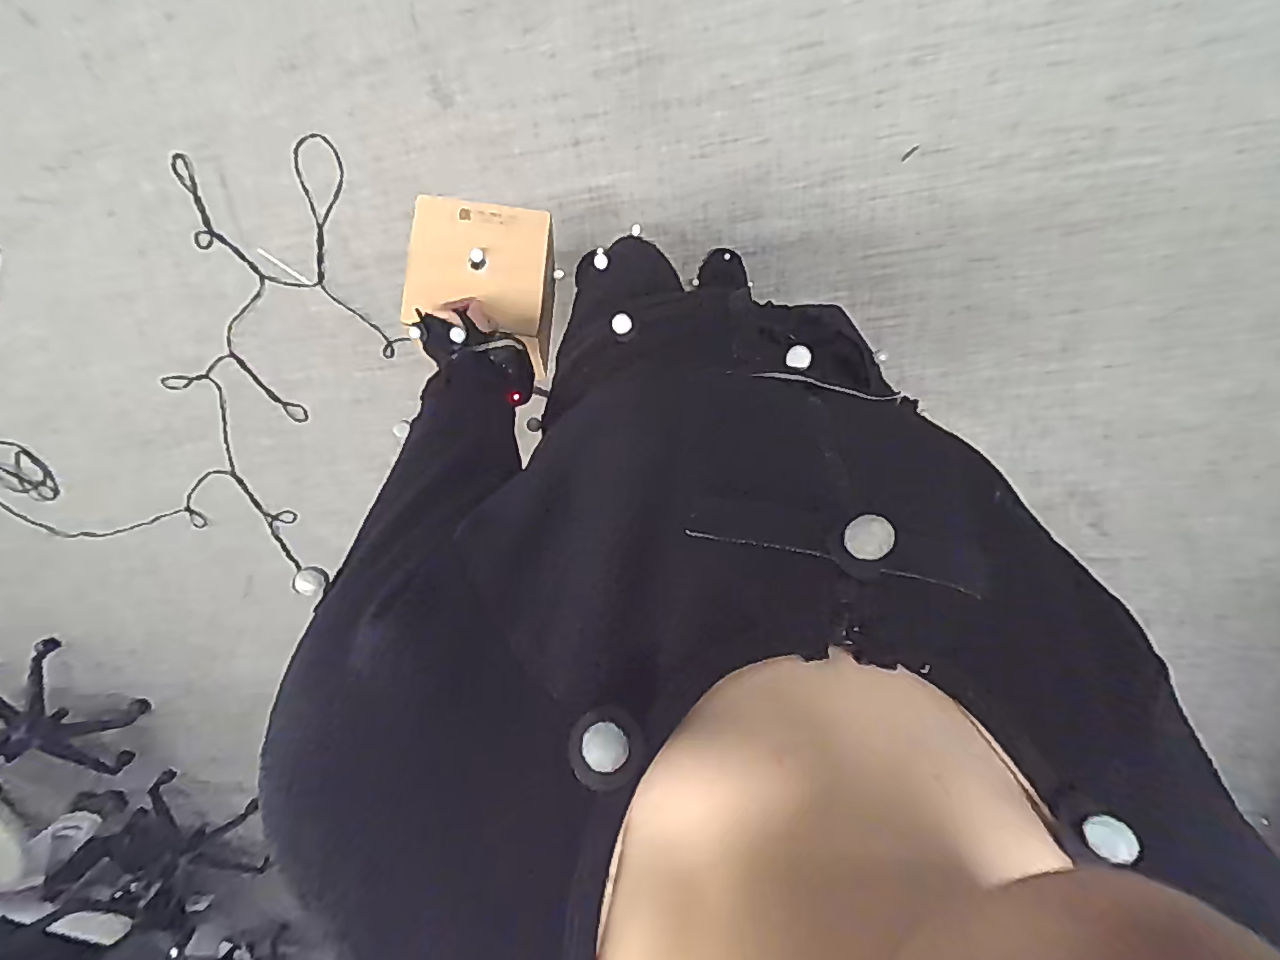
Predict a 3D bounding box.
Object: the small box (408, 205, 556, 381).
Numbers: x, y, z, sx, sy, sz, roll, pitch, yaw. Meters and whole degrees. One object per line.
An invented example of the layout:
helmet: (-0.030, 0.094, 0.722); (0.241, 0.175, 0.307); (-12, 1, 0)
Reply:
small box: (-0.205, -0.249, 0.747); (0.168, 0.179, 0.176); (4, 83, -6)
